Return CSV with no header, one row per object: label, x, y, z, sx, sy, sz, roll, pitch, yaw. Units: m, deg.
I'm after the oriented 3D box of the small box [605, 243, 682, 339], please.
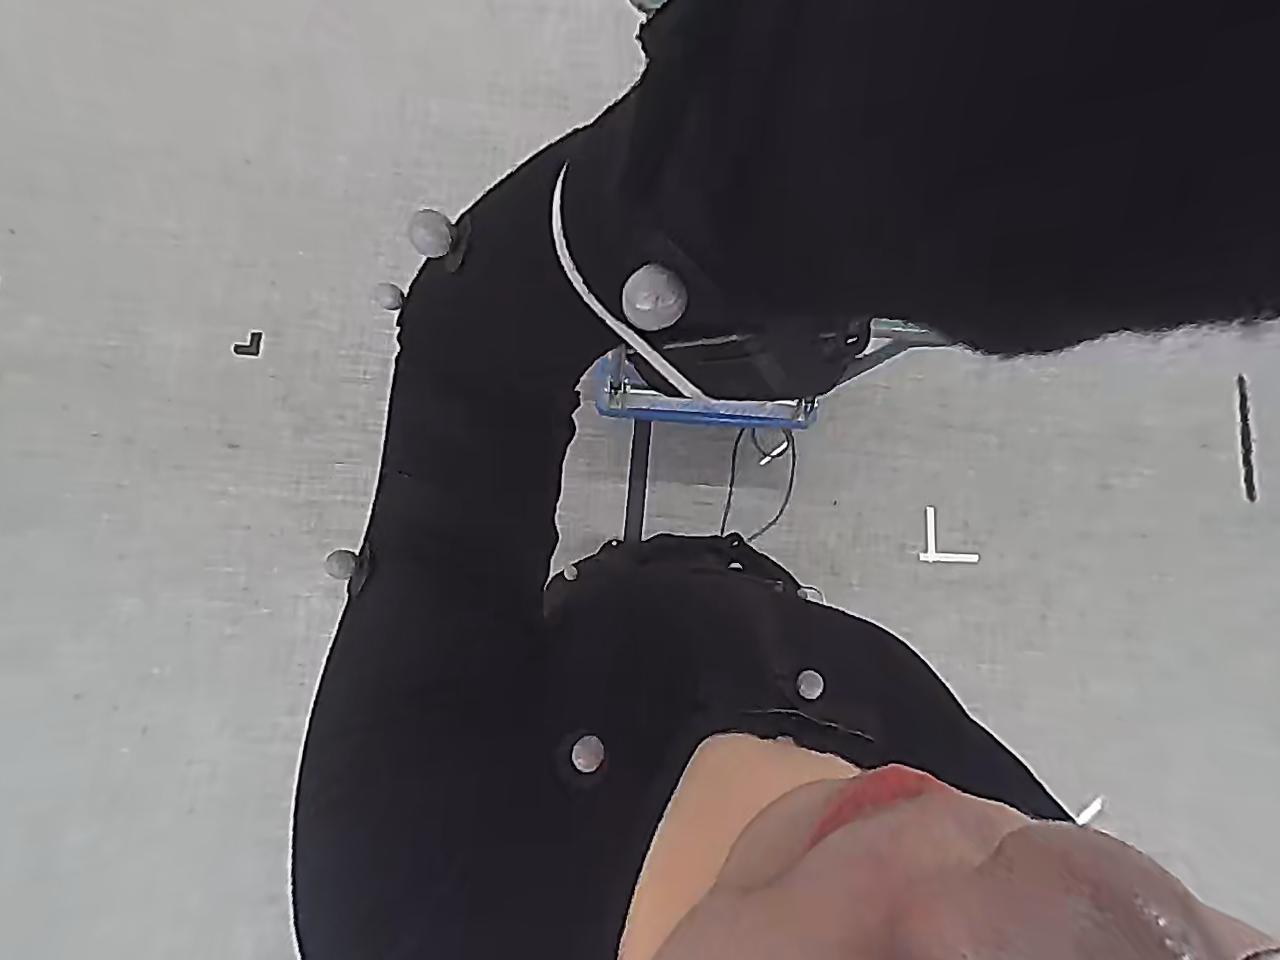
small box,0.004,-0.454,1.323,0.179,0.176,0.168,2,84,-4
